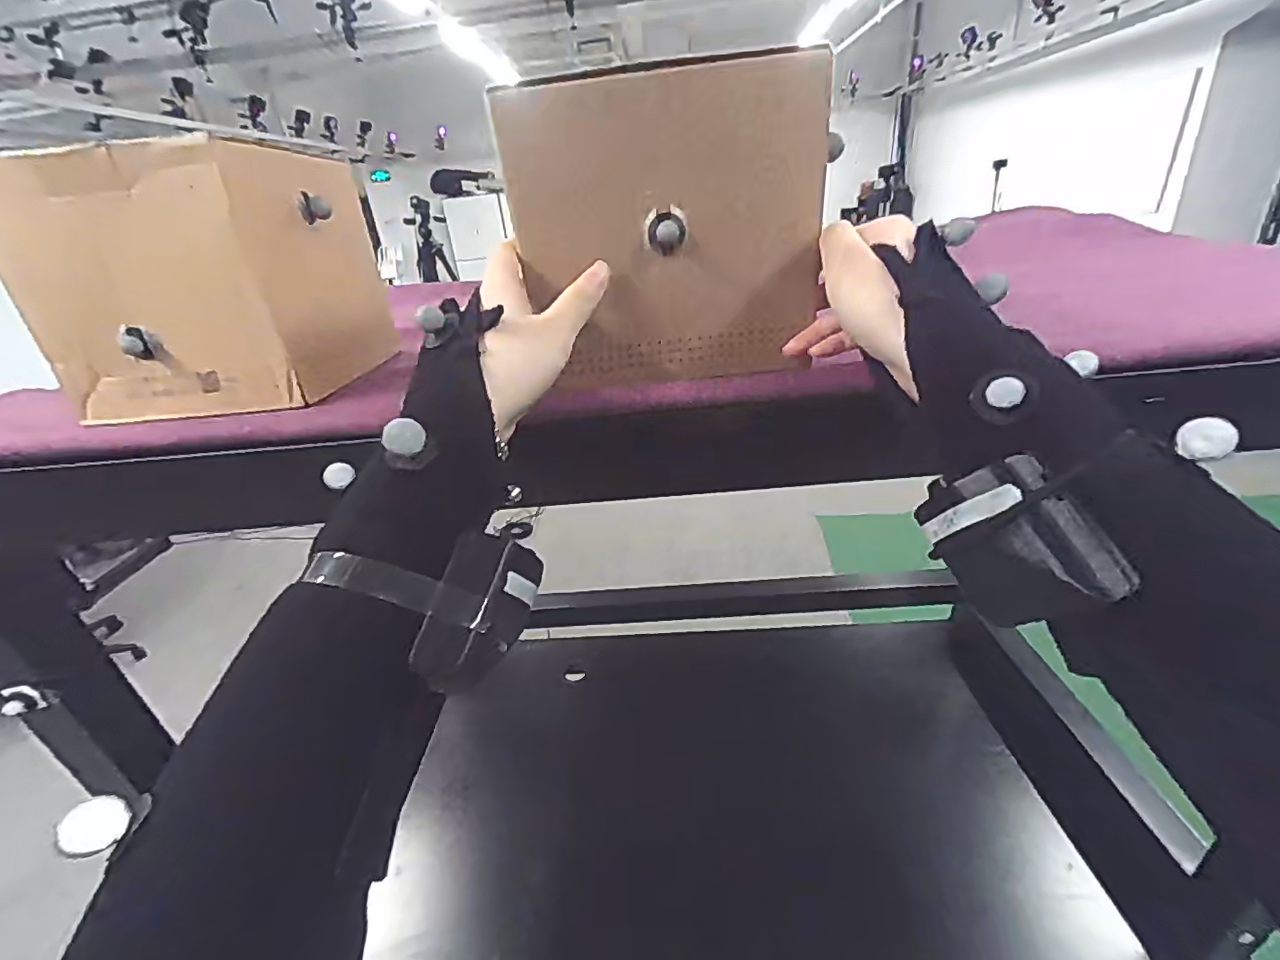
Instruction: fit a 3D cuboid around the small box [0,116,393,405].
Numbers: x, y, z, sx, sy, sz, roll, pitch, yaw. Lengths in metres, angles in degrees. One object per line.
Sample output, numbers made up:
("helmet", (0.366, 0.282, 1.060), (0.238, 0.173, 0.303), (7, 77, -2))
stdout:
("small box", (-0.316, -0.165, 0.421), (0.168, 0.176, 0.179), (-5, 26, 1))
